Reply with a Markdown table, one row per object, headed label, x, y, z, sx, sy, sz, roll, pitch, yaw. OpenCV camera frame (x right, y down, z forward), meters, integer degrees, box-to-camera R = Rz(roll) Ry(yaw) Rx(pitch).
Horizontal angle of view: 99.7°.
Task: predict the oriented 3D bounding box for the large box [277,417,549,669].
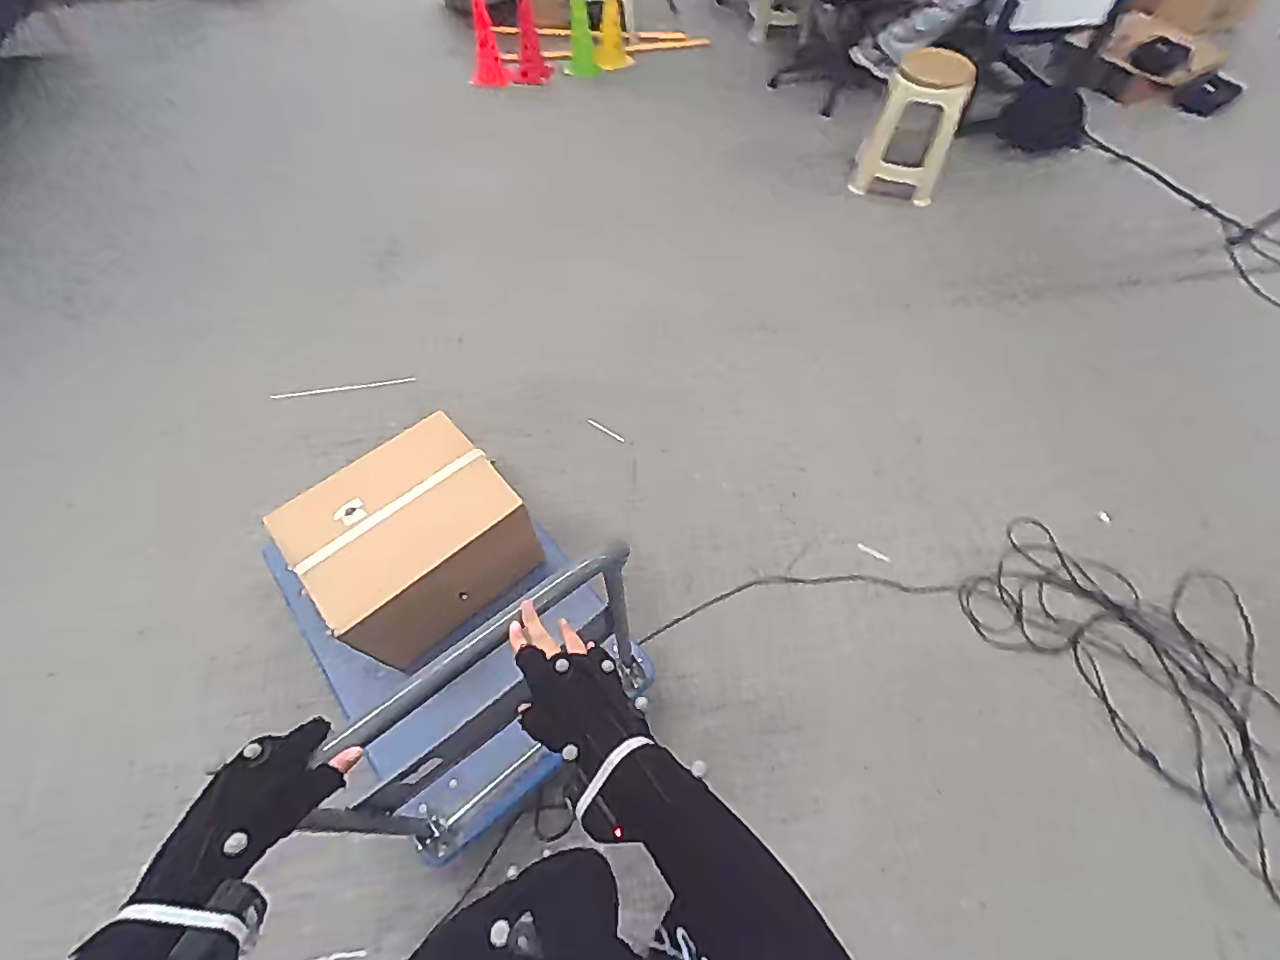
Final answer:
| label | x | y | z | sx | sy | sz | roll | pitch | yaw |
| --- | --- | --- | --- | --- | --- | --- | --- | --- | --- |
| large box | -0.466 | 0.144 | 1.200 | 0.408 | 0.320 | 0.320 | -39 | 67 | -20 |
